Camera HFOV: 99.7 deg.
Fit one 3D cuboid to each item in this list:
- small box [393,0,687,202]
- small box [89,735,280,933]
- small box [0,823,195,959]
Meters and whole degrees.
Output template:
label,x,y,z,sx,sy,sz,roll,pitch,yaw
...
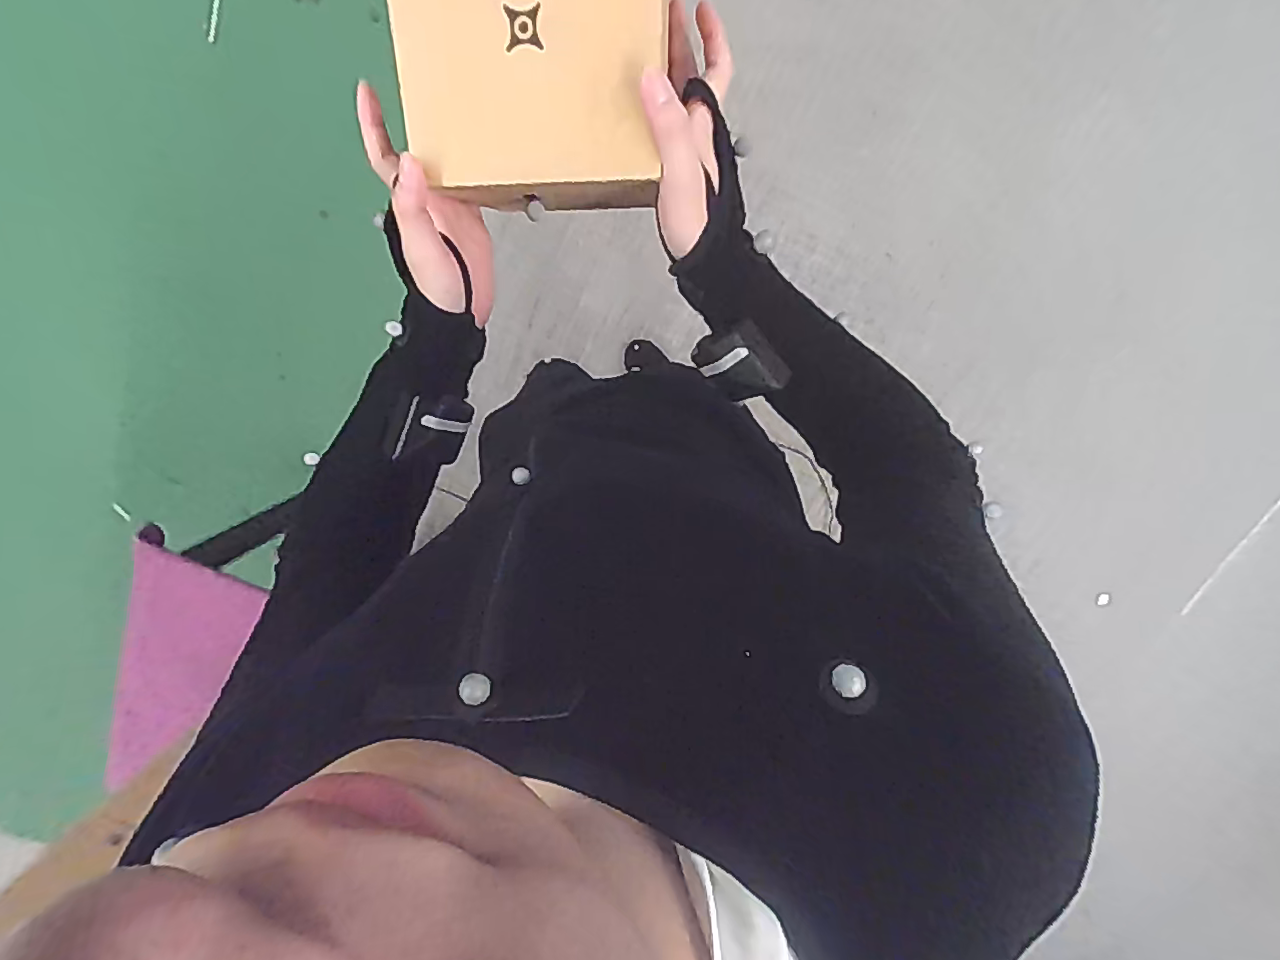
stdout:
label,x,y,z,sx,sy,sz,roll,pitch,yaw
small box,-0.053,-0.300,0.381,0.168,0.176,0.179,2,111,5
small box,-0.704,0.540,0.843,0.168,0.176,0.179,24,108,-4
small box,-0.716,0.590,0.688,0.168,0.176,0.179,22,109,-5
